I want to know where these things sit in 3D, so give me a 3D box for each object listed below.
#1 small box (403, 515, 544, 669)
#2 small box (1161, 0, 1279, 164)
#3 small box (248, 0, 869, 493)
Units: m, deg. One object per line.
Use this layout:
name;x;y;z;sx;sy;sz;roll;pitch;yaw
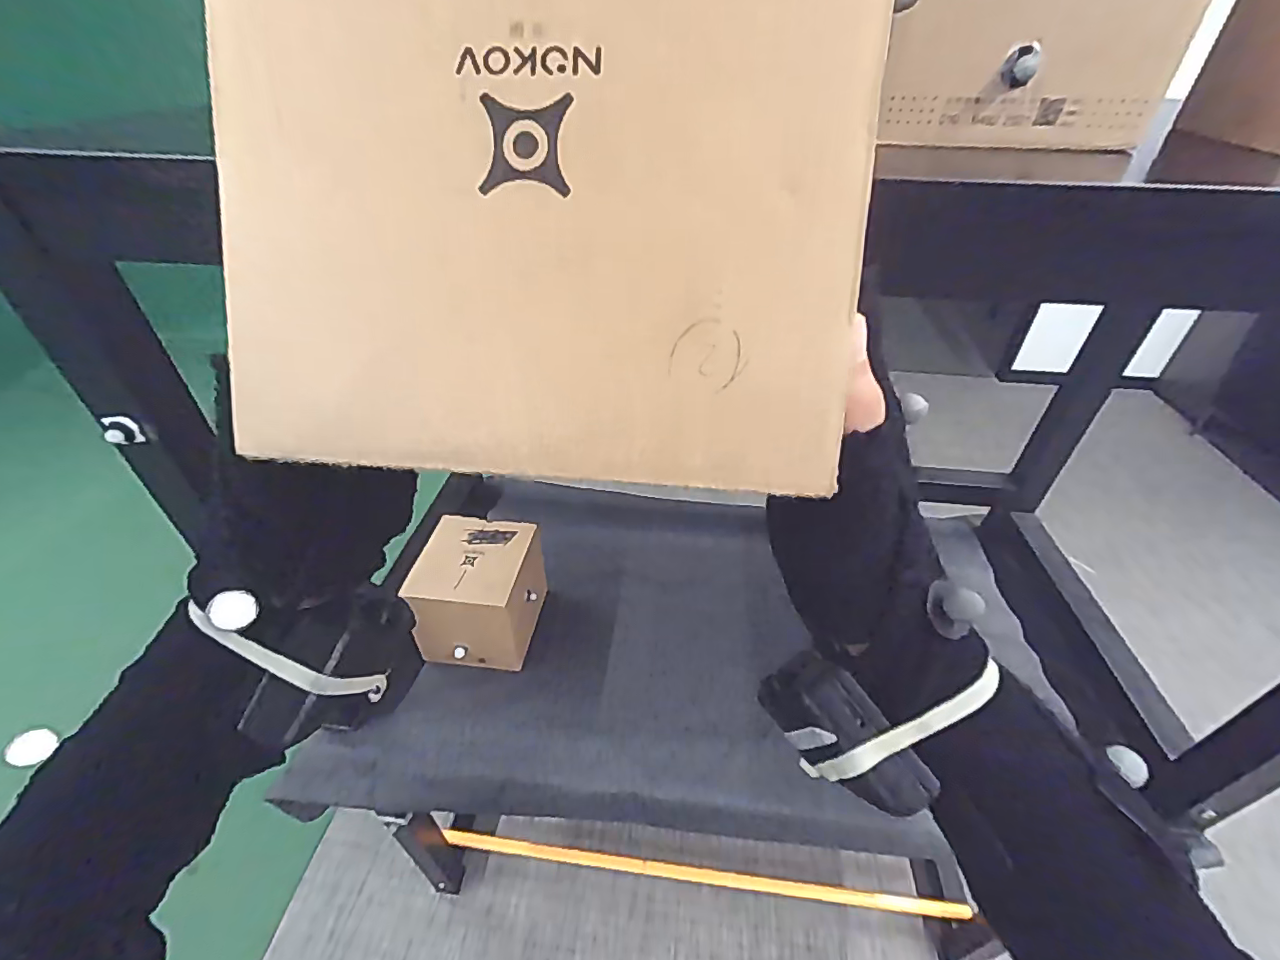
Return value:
small box;-0.261;0.184;0.899;0.168;0.176;0.179;5;39;5
small box;0.487;-0.289;0.328;0.168;0.176;0.179;12;39;14
small box;-0.018;-0.100;0.224;0.168;0.179;0.176;4;9;5
